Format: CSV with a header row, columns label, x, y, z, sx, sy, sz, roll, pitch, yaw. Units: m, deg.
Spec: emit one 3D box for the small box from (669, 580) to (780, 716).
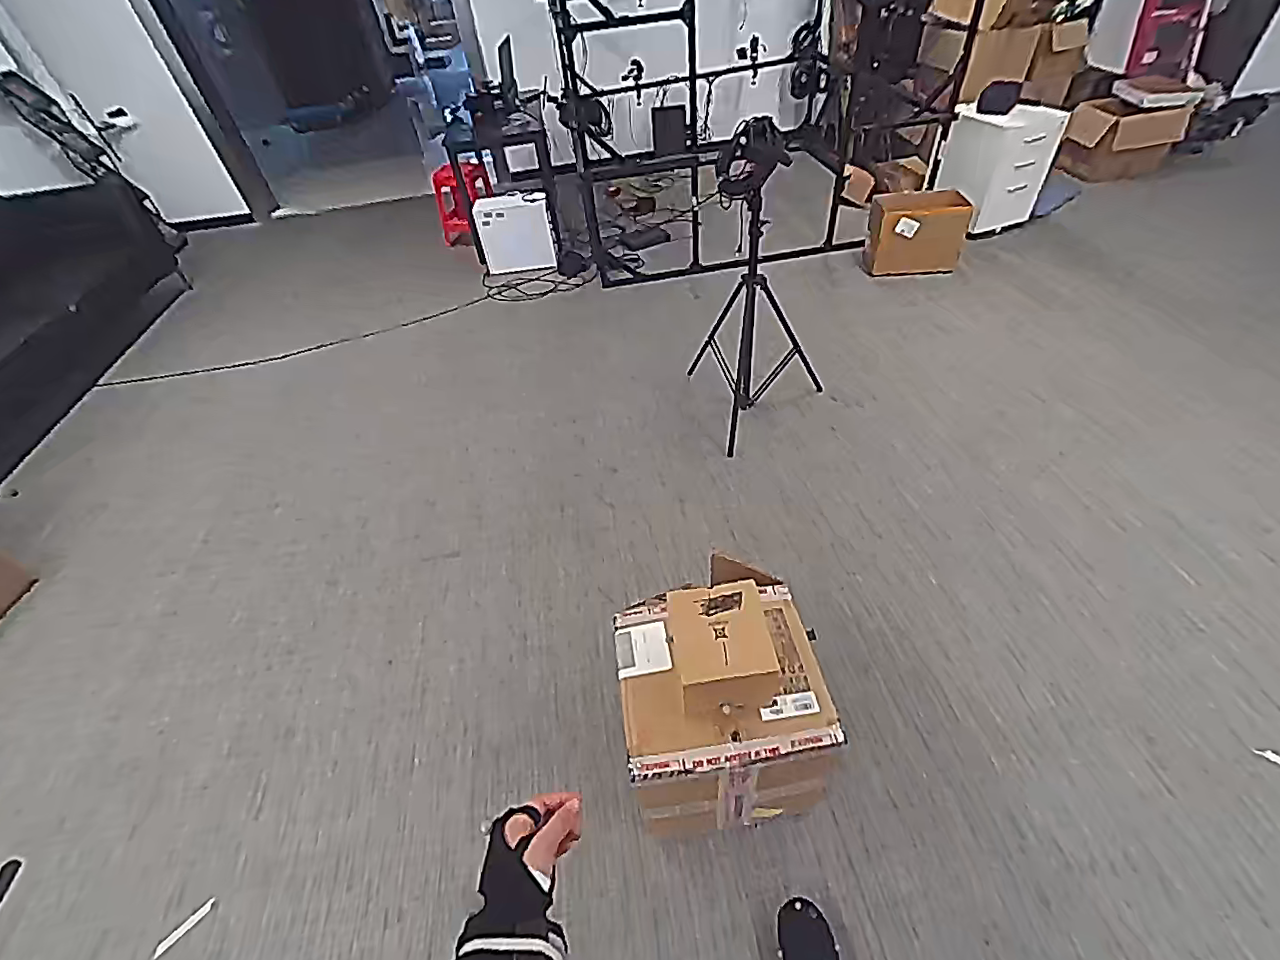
label,x,y,z,sx,sy,sz,roll,pitch,yaw
small box,0.147,0.311,0.997,0.168,0.176,0.179,-8,48,0
